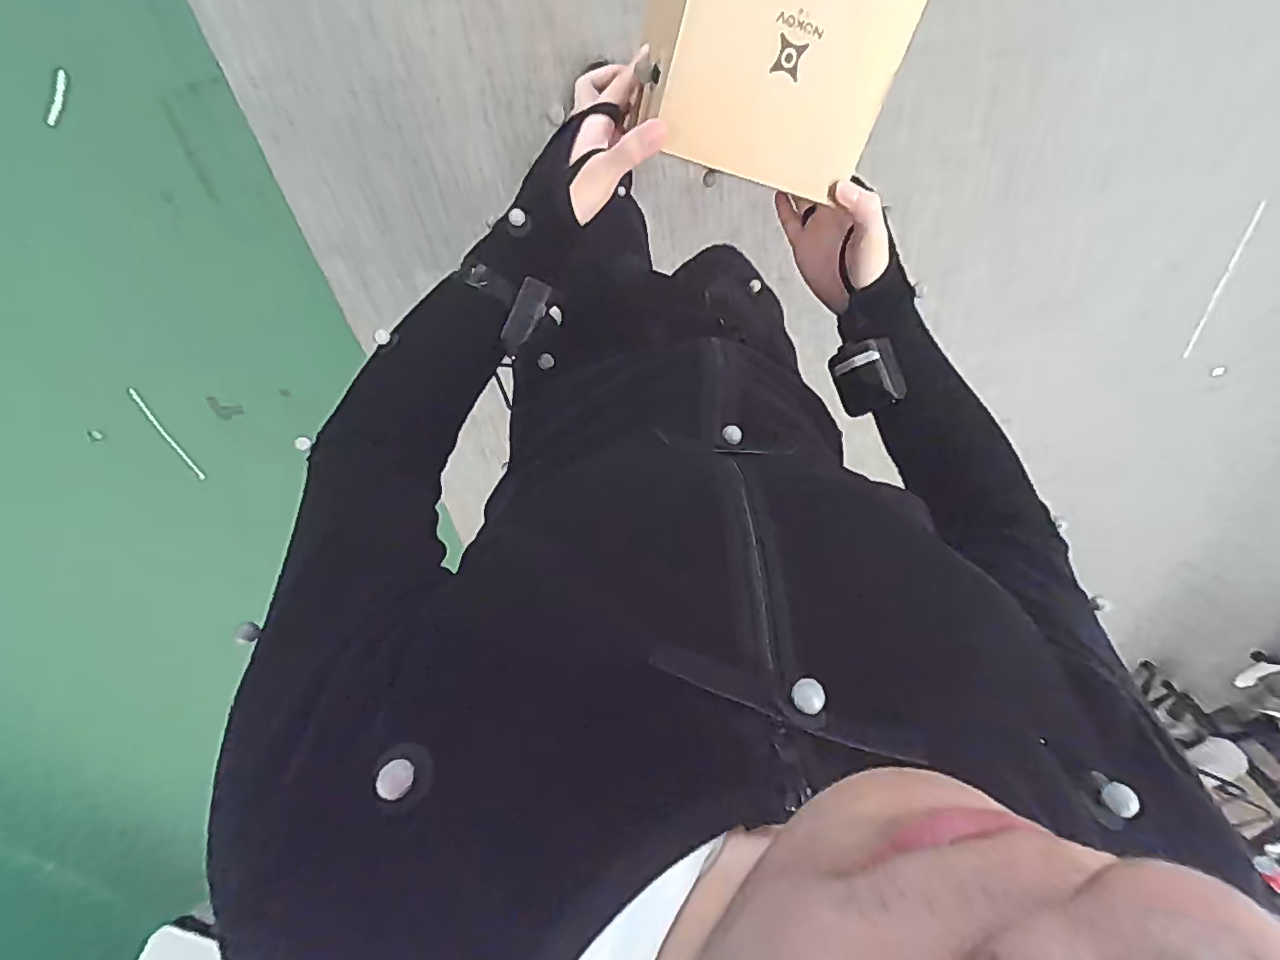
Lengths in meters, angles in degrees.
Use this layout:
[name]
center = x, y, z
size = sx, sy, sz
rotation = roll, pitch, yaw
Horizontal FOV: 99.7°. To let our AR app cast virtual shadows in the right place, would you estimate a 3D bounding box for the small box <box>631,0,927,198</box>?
[small box]
center = 0.096, -0.354, 0.436
size = 0.168, 0.176, 0.179
rotation = 8, 122, -17
